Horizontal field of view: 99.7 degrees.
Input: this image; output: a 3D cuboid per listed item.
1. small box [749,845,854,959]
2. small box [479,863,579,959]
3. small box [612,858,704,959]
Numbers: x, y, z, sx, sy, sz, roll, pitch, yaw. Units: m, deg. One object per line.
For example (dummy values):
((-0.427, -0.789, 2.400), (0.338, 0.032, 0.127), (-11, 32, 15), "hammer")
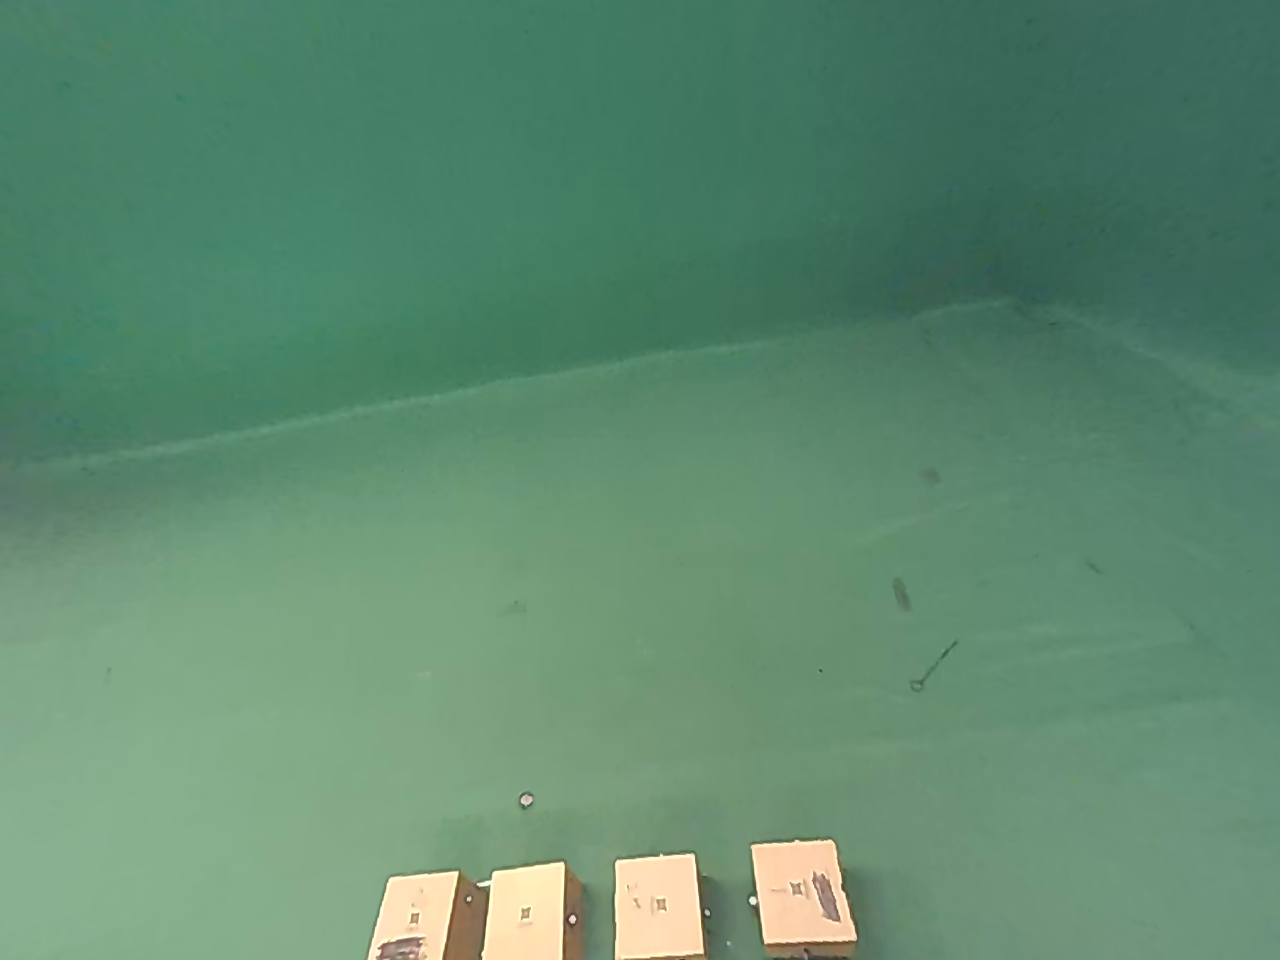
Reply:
((0.327, 0.882, 1.128), (0.179, 0.176, 0.168), (-7, 40, 6), "small box")
((-0.231, 0.962, 1.168), (0.168, 0.176, 0.179), (-9, 41, 3), "small box")
((0.041, 0.923, 1.146), (0.179, 0.176, 0.168), (-7, 40, 5), "small box")
